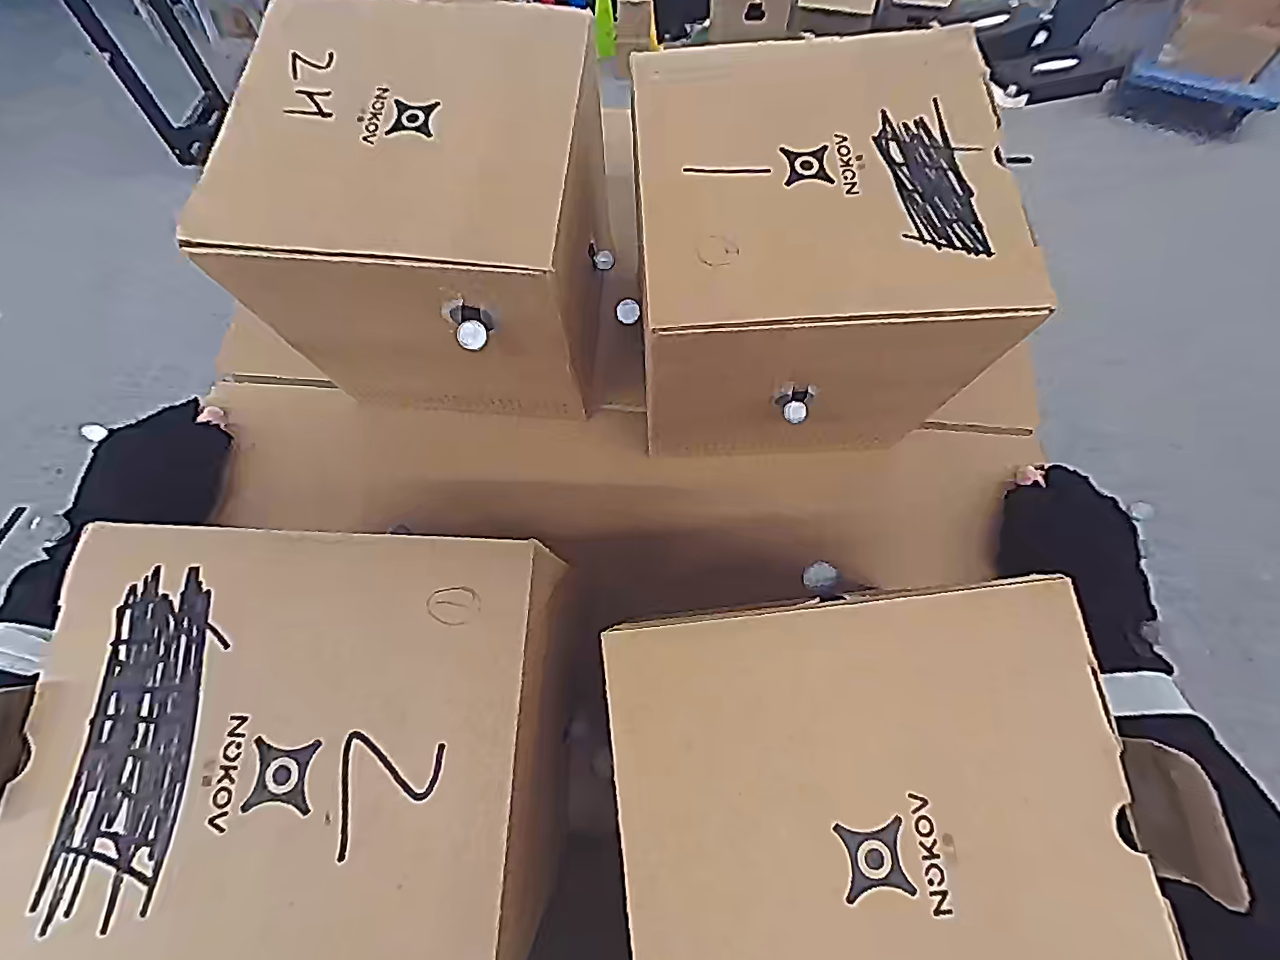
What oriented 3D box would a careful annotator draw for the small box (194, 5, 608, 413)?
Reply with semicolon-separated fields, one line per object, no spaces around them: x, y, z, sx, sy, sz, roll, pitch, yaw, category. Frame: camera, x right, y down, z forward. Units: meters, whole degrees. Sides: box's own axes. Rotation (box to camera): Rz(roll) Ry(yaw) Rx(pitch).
-0.118;-0.154;0.353;0.179;0.176;0.168;6;73;3;small box
